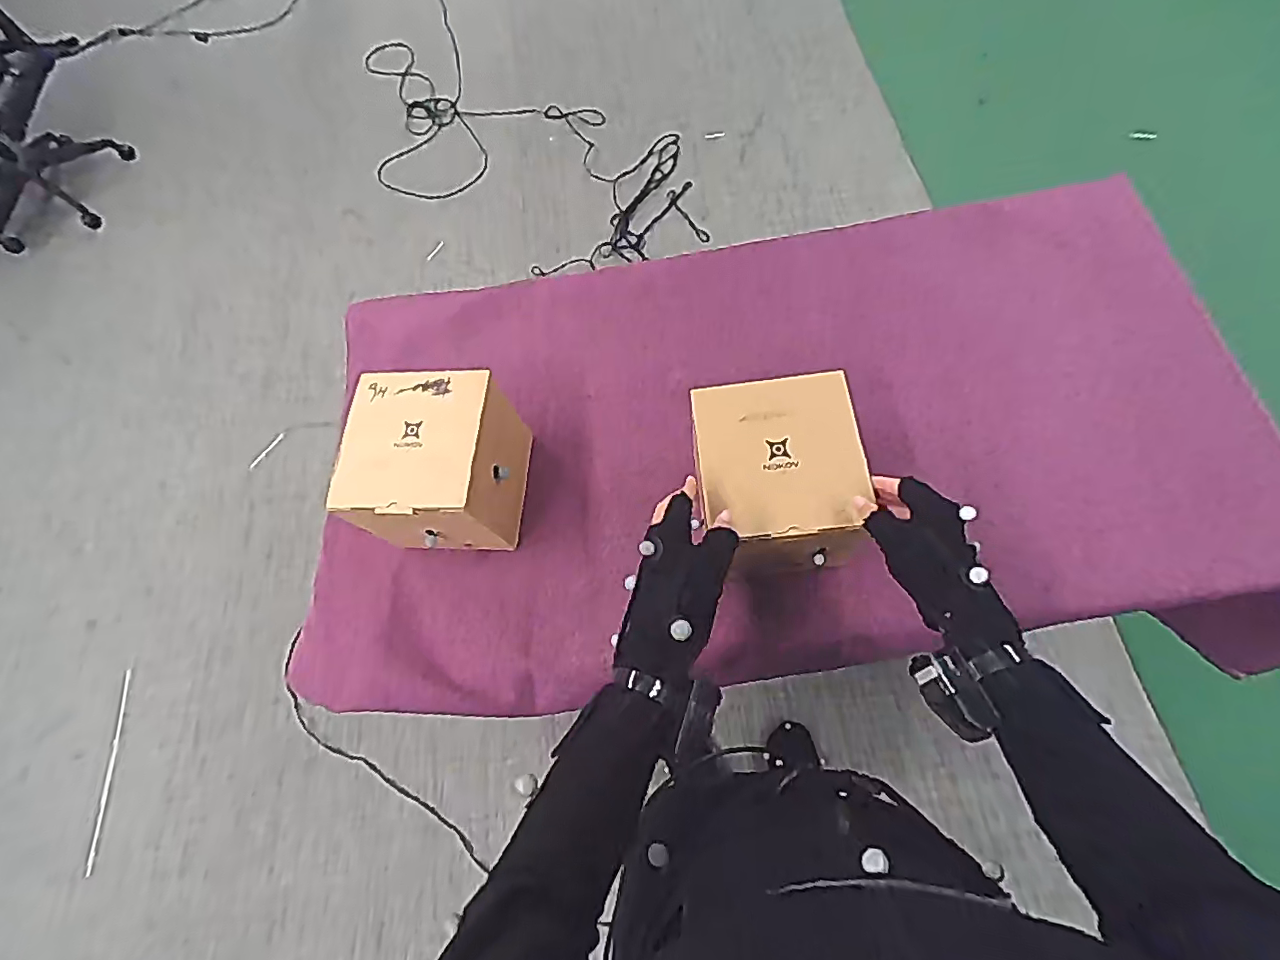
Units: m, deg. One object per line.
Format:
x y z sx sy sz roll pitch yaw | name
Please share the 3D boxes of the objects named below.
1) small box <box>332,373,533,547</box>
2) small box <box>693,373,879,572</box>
-0.245 -0.016 0.686 0.168 0.176 0.179 1 69 8 | small box
0.153 0.004 0.623 0.168 0.176 0.179 -6 67 5 | small box
